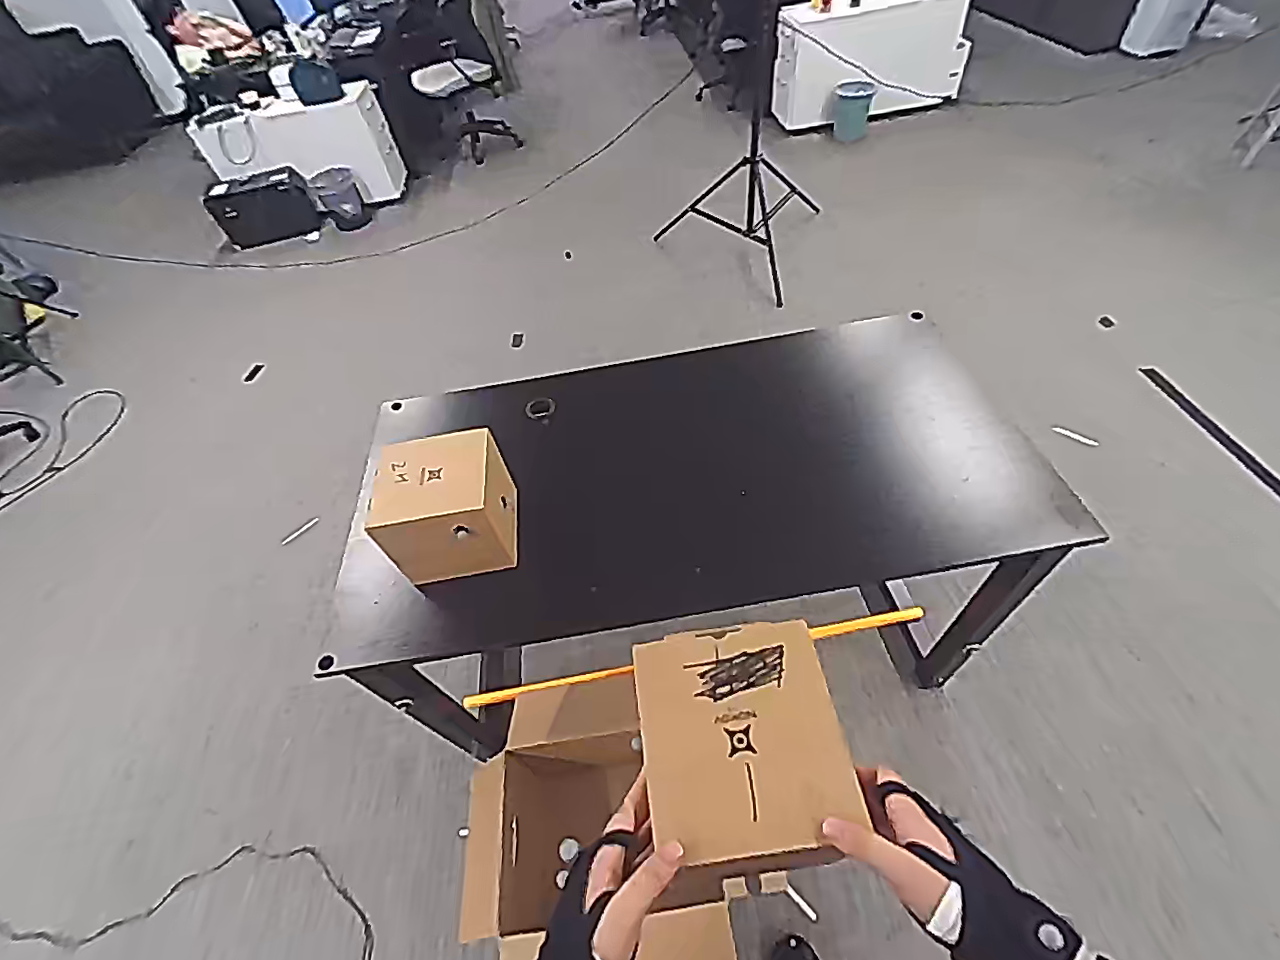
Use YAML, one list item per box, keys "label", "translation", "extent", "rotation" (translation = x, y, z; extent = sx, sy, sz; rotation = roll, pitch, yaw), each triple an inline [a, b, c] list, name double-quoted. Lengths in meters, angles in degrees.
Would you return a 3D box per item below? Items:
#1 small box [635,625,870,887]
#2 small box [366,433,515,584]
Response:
- label: "small box"
  translation: [0.090, 0.264, 0.515]
  extent: [0.168, 0.176, 0.179]
  rotation: [-9, 49, 0]
- label: "small box"
  translation: [-0.308, 0.050, 0.881]
  extent: [0.179, 0.176, 0.168]
  rotation: [-10, 50, 0]
